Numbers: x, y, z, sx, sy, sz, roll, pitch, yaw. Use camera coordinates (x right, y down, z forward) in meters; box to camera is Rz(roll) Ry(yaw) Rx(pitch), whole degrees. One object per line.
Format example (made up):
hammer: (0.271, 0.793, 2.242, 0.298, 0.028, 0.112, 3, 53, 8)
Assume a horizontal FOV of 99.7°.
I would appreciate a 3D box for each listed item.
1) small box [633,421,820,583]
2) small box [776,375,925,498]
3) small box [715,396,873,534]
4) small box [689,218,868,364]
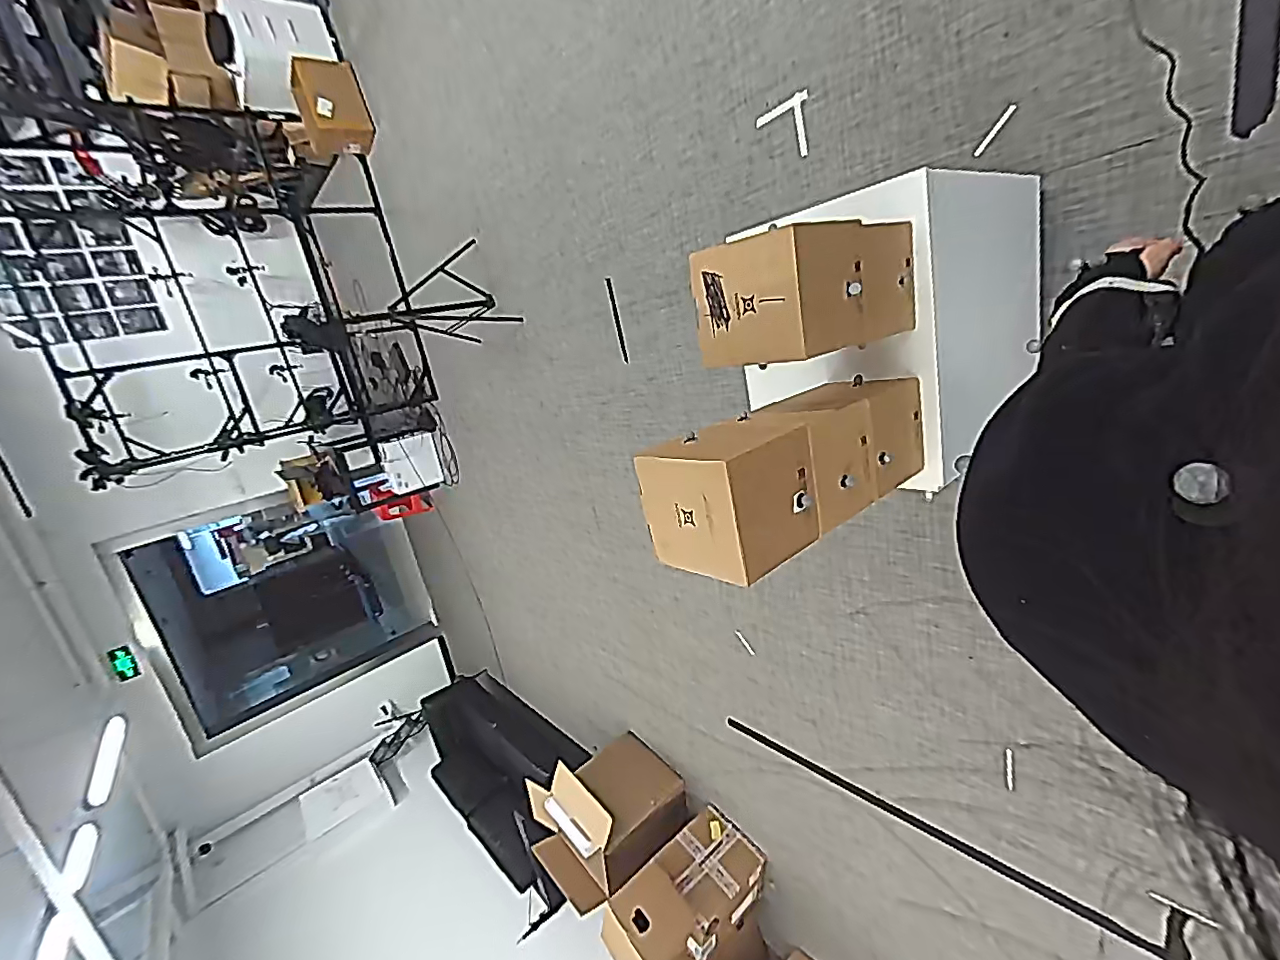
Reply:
small box: (0.121, 0.018, 0.749, 0.179, 0.176, 0.168, 5, 113, 51)
small box: (0.365, -0.082, 0.937, 0.179, 0.176, 0.168, 9, 116, 52)
small box: (0.244, -0.032, 0.842, 0.179, 0.176, 0.168, 6, 113, 51)
small box: (0.198, -0.265, 0.770, 0.179, 0.176, 0.168, 9, 116, 49)
